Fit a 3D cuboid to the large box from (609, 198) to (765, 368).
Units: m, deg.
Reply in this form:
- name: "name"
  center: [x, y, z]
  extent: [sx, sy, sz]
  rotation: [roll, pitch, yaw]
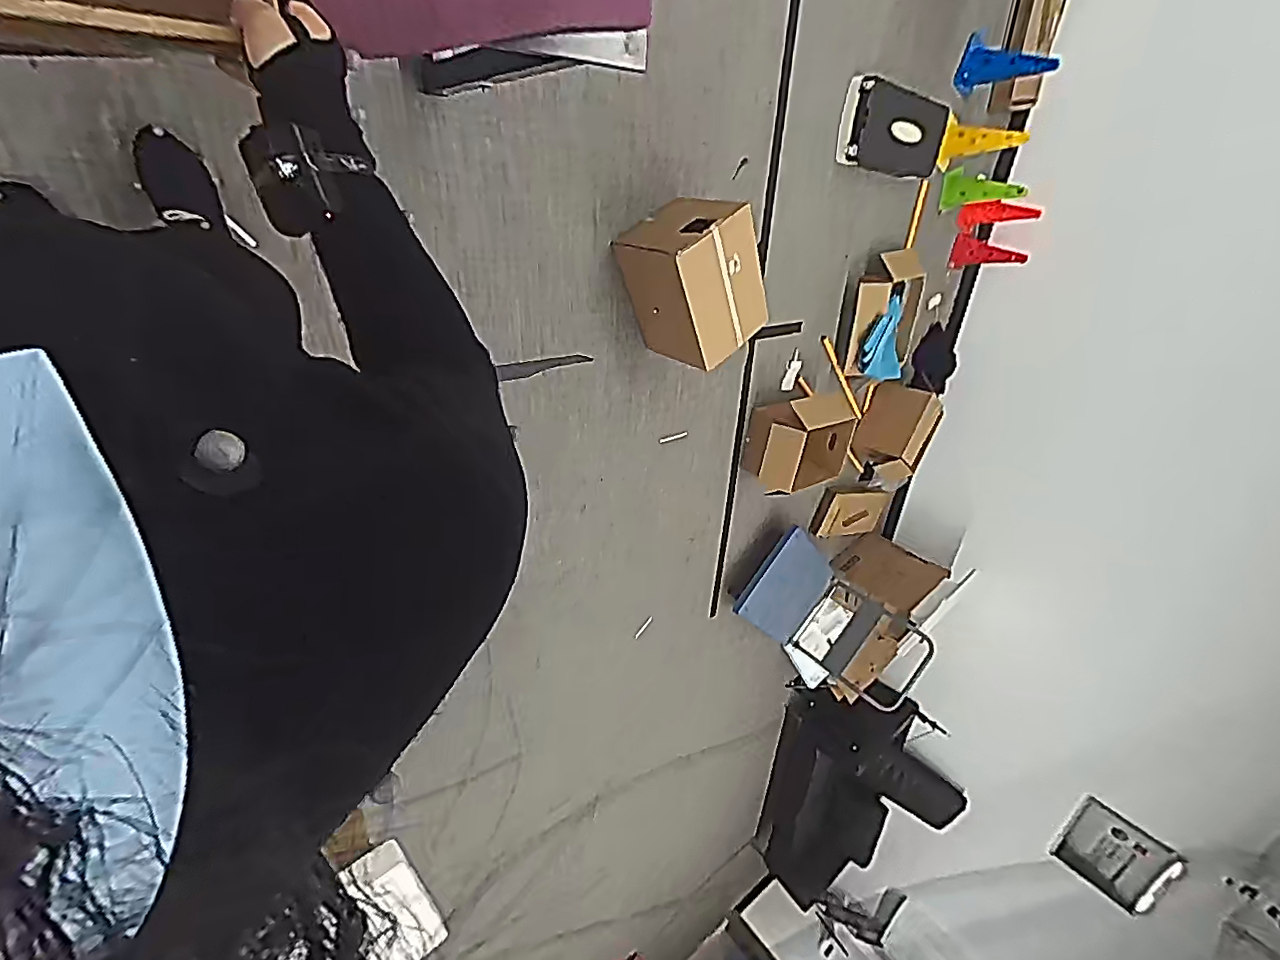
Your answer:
- name: "large box"
  center: [0.159, -0.641, 1.758]
  extent: [0.320, 0.320, 0.408]
  rotation: [-42, 135, -17]
